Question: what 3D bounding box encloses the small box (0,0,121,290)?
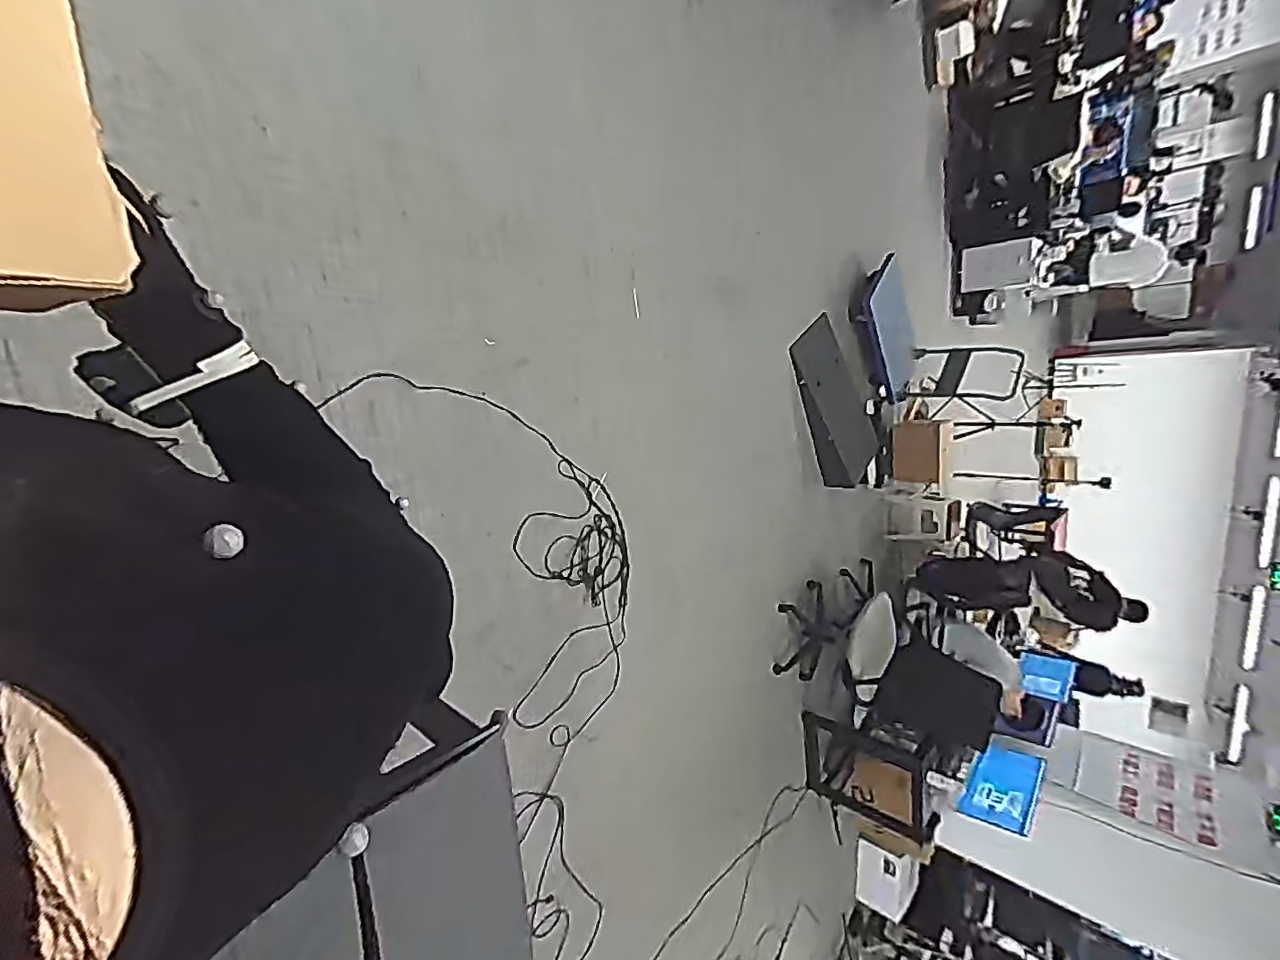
[{"bbox_3d":[-0.372,-0.182,0.225,0.168,0.176,0.179,-22,116,-56],"label":"small box"}]
